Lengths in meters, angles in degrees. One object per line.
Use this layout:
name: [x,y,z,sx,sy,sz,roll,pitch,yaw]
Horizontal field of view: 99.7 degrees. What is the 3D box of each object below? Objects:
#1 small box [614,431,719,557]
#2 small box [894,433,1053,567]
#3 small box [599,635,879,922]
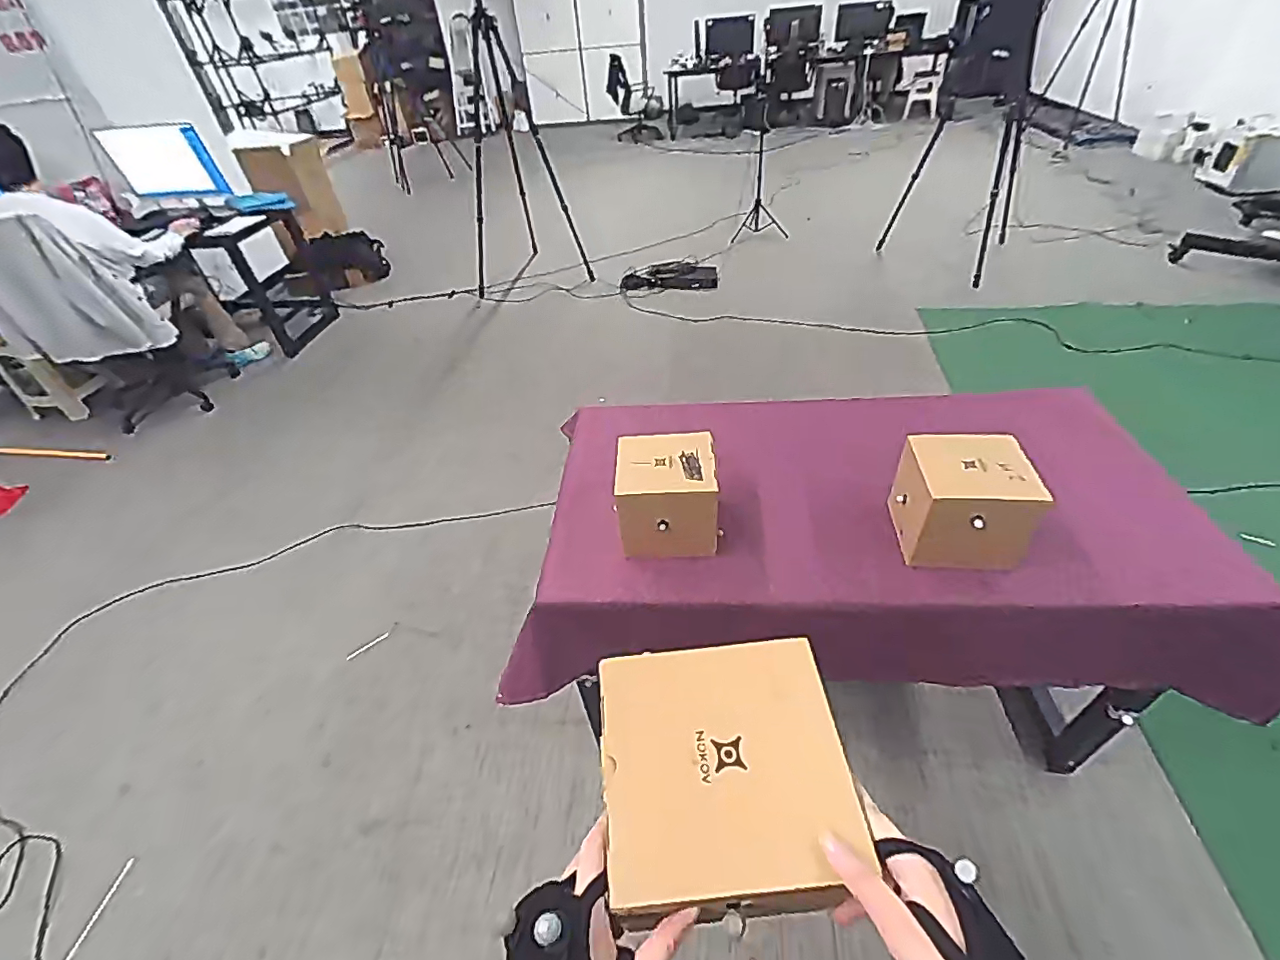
small box: [0.053,0.028,1.005,0.179,0.176,0.168,-4,42,5]
small box: [0.554,0.035,0.933,0.179,0.176,0.168,2,43,9]
small box: [0.064,0.250,0.449,0.179,0.176,0.168,-7,47,0]
